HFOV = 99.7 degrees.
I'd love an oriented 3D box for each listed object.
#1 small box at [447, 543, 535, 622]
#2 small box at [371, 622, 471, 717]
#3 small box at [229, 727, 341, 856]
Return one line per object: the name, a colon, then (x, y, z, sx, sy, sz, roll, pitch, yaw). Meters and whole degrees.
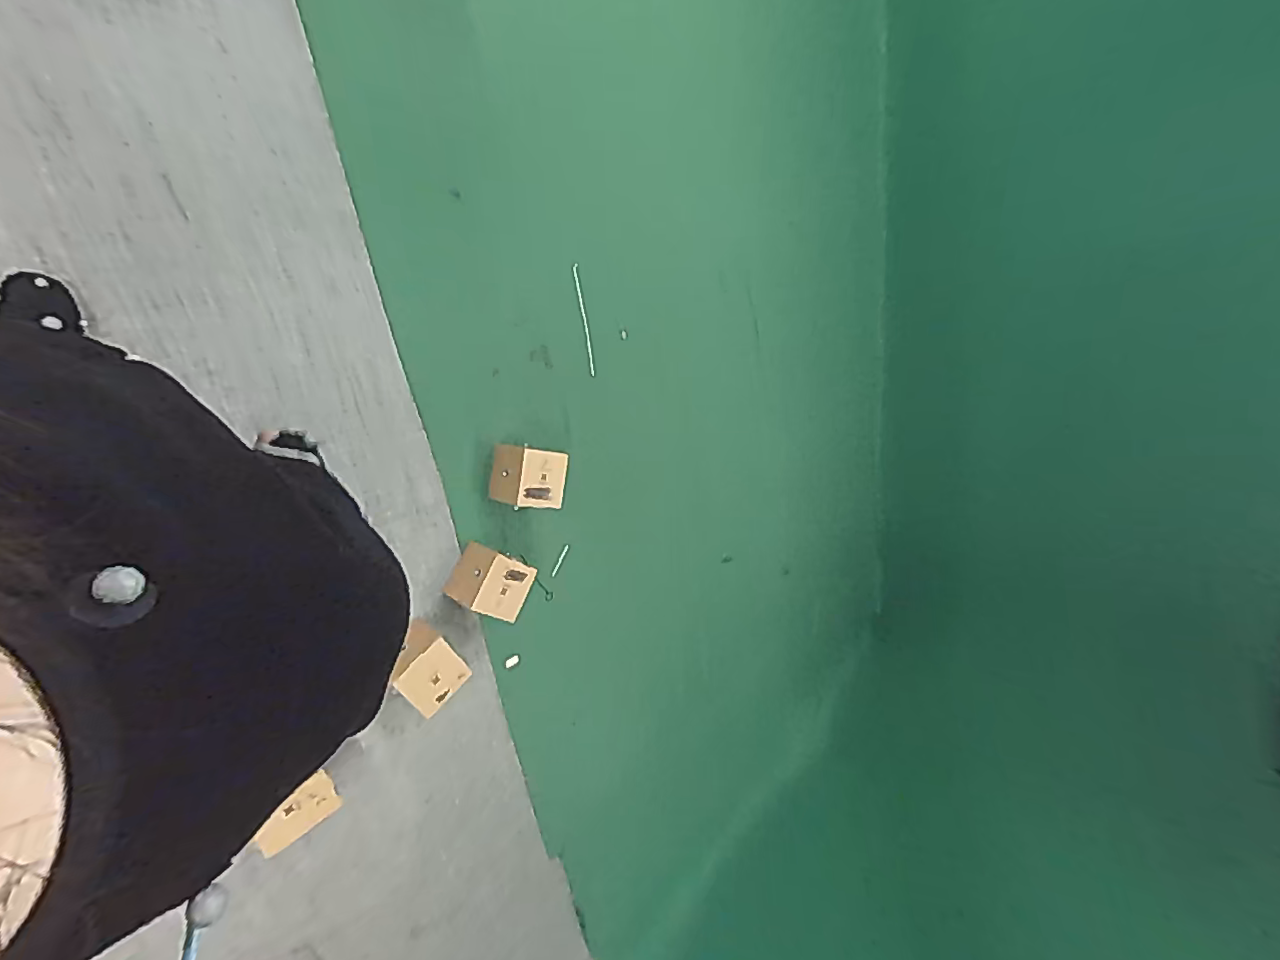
small box: (-0.461, 0.309, 1.660, 0.168, 0.176, 0.179, 35, 74, -44)
small box: (-0.625, 0.529, 1.538, 0.168, 0.176, 0.179, -45, 126, -30)
small box: (-0.877, 0.755, 1.329, 0.179, 0.176, 0.168, -28, 118, -38)
